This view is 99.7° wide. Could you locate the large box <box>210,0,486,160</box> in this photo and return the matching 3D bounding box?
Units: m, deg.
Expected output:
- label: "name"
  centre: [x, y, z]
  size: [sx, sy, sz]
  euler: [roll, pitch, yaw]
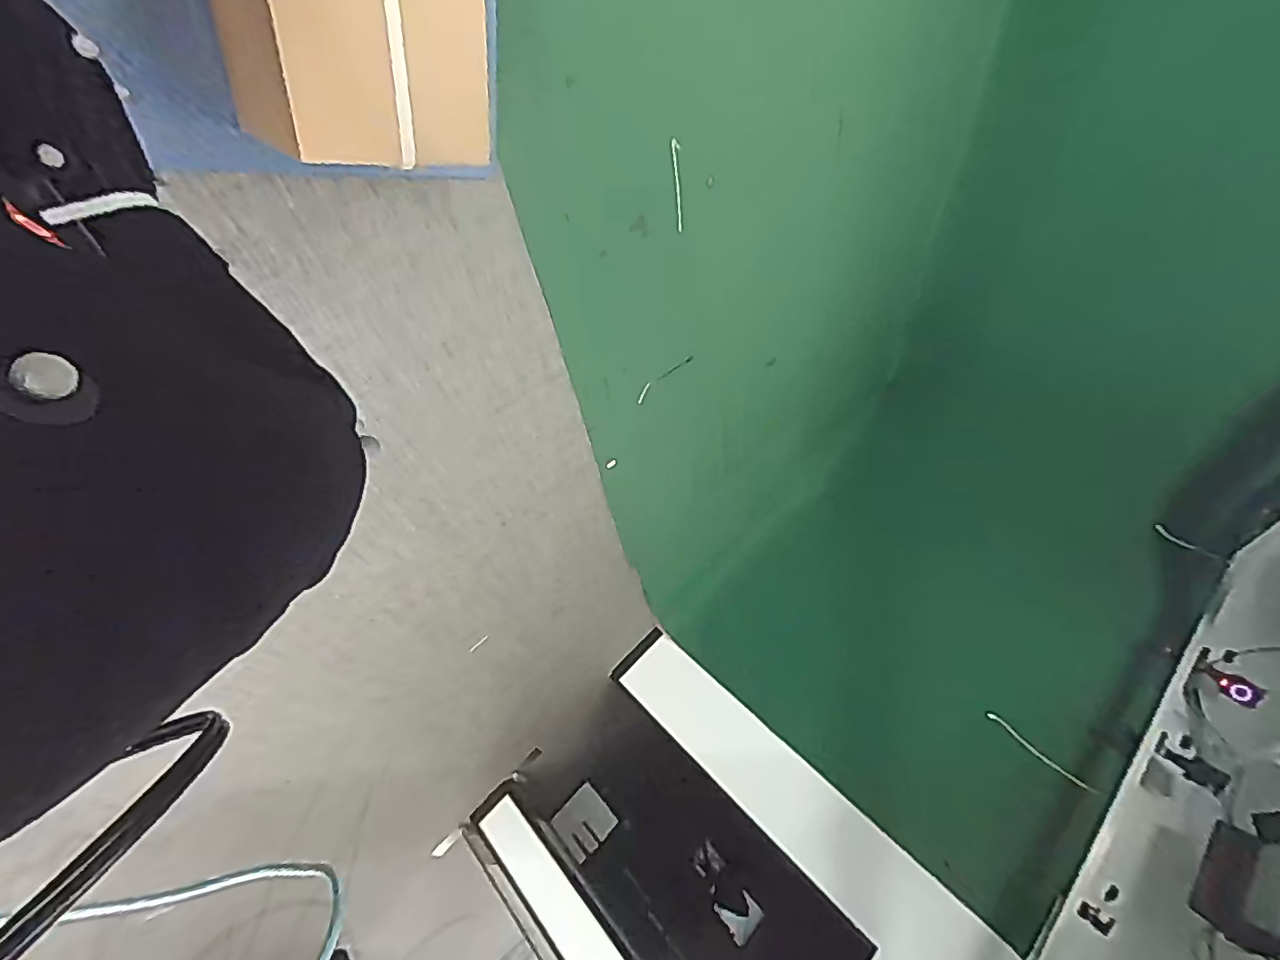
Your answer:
- label: "large box"
  centre: [-0.470, -0.756, 0.850]
  size: [0.320, 0.320, 0.408]
  euler: [-26, 138, -38]
